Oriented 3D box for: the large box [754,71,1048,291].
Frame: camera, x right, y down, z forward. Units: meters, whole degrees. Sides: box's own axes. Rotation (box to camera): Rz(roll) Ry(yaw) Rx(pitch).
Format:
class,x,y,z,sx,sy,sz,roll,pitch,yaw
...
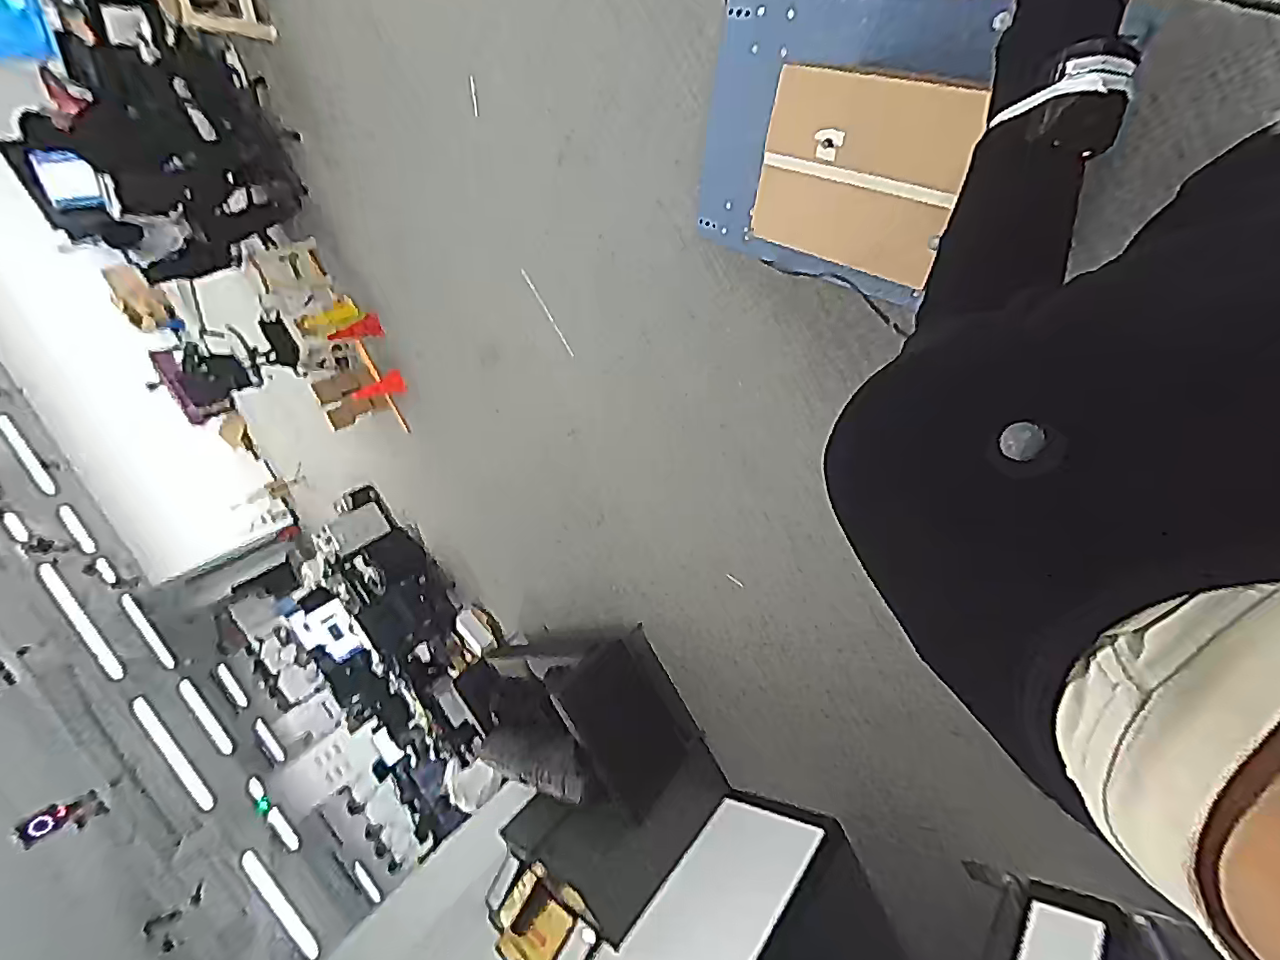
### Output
class,x,y,z,sx,sy,sz,roll,pitch,yaw
large box,0.513,-0.630,1.115,0.408,0.320,0.320,34,137,29
